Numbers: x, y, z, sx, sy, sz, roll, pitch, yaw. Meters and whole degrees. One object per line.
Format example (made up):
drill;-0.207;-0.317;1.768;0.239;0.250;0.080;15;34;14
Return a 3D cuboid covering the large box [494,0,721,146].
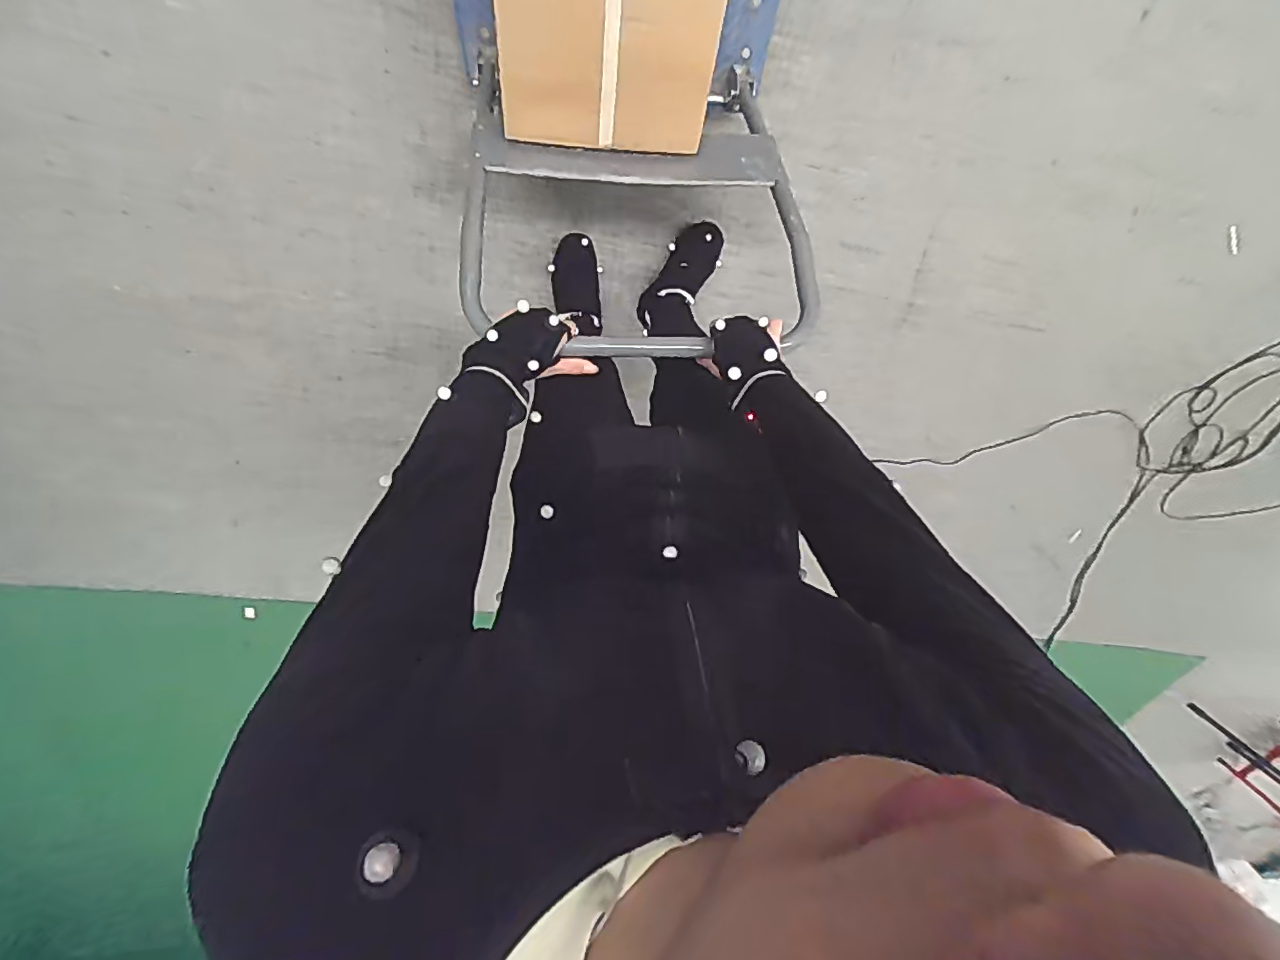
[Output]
large box;-0.052;-0.782;0.798;0.320;0.320;0.408;-1;145;-8
